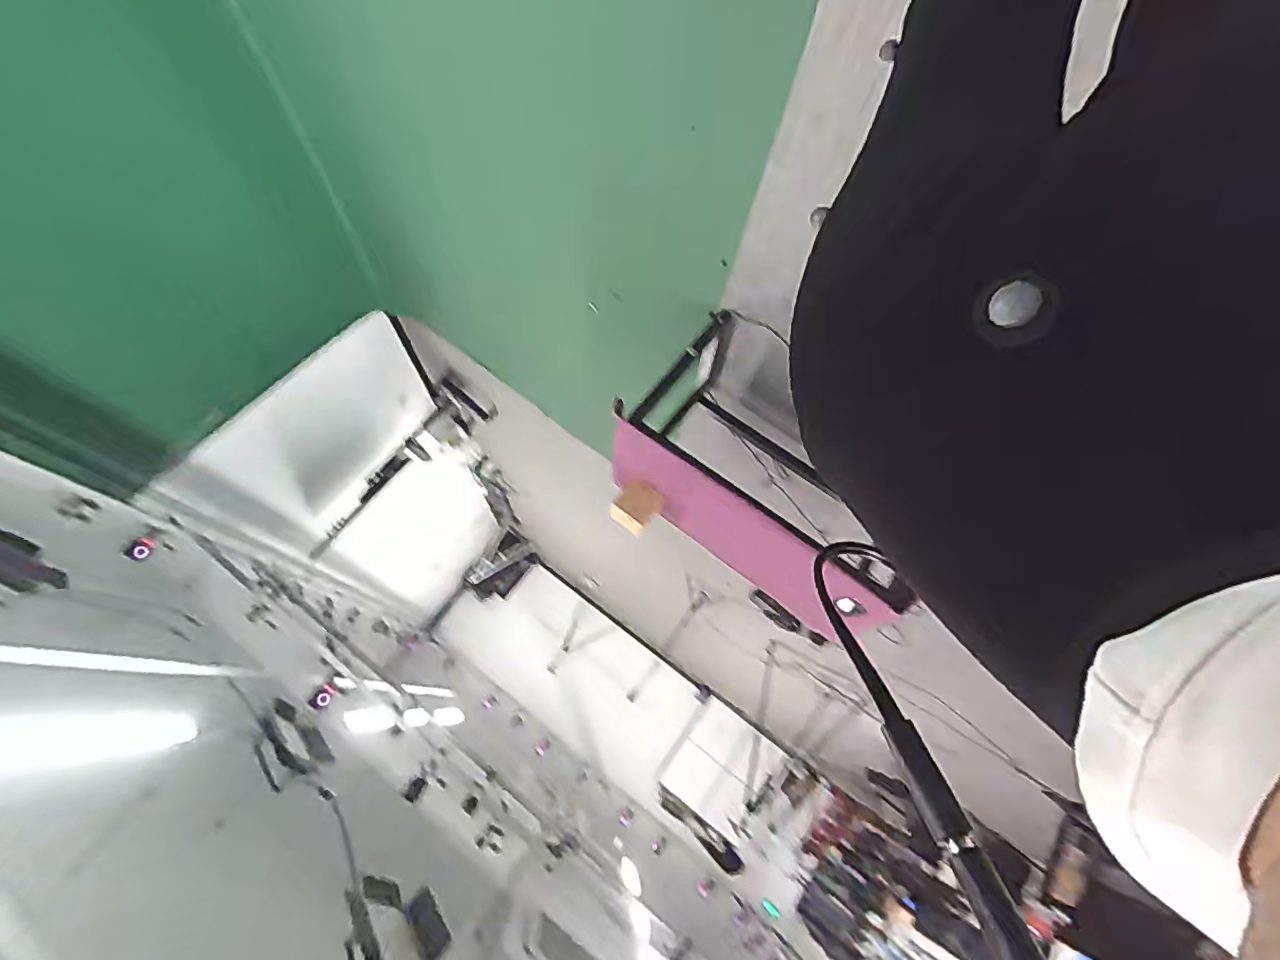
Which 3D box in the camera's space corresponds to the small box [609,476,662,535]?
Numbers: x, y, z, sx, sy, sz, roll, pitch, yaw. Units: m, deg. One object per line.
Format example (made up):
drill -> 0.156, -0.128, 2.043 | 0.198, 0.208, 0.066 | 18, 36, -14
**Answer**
small box -> -0.018, 0.114, 2.390 | 0.168, 0.176, 0.179 | 36, 159, 8
